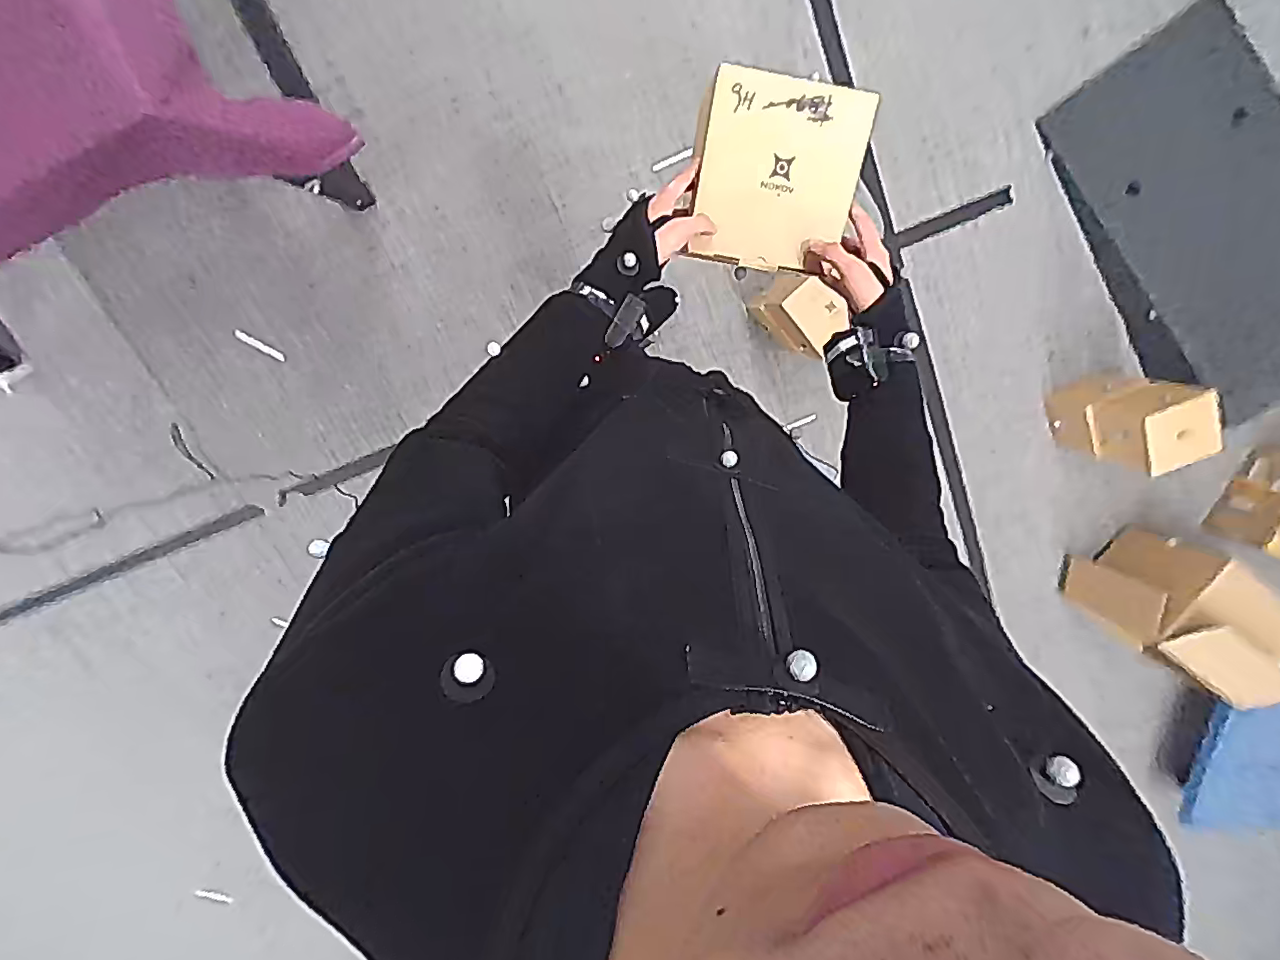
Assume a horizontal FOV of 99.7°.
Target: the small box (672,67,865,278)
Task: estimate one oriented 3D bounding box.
[{"bbox_3d":[0.133,-0.347,0.642,0.168,0.176,0.179,7,112,-4],"label":"small box"}]
